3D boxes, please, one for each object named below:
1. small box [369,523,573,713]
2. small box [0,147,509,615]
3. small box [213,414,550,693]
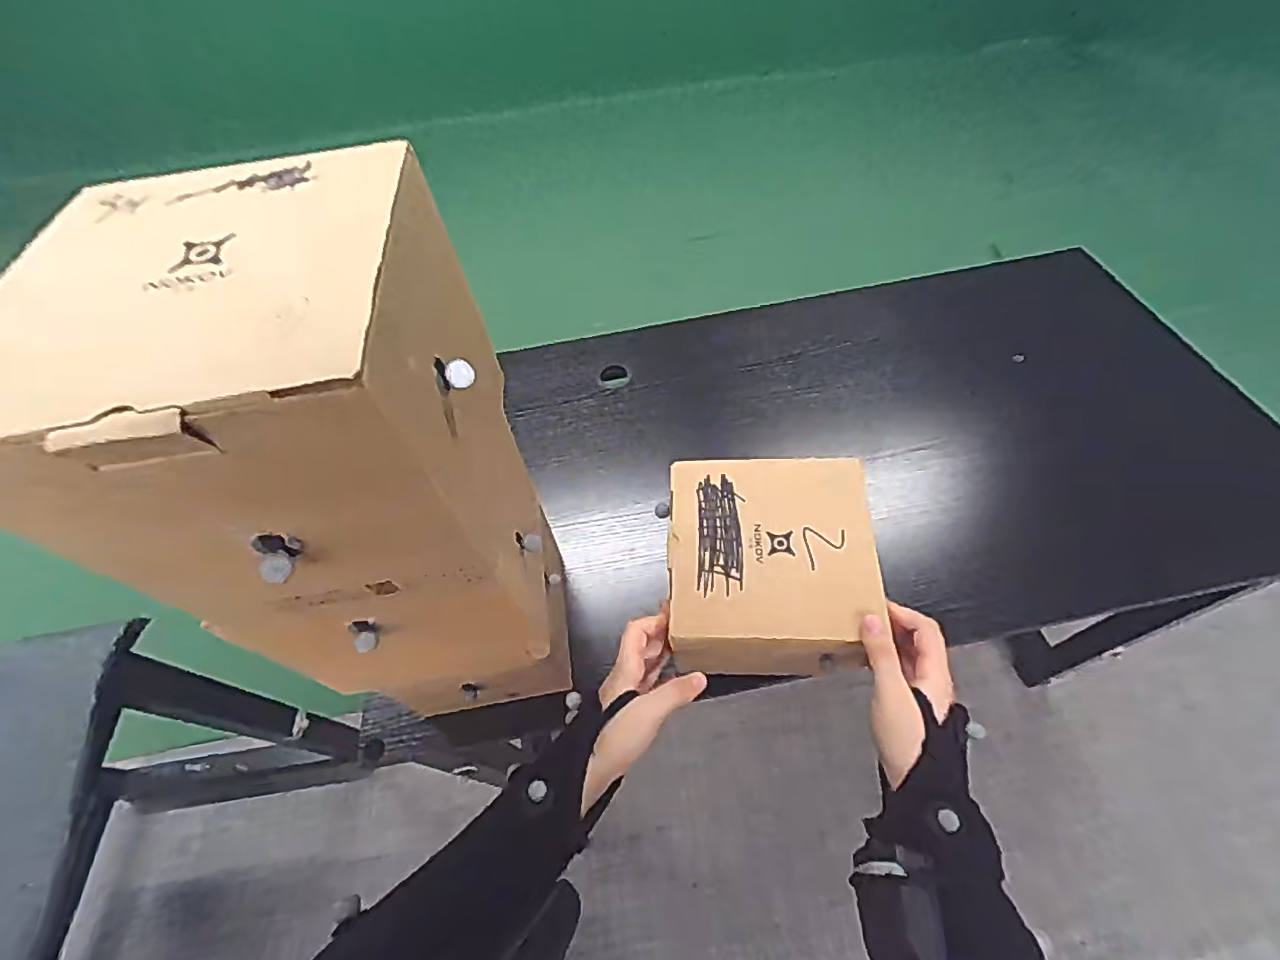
[{"bbox_3d":[-0.169,0.133,0.570,0.168,0.176,0.179,-10,55,-3],"label":"small box"},{"bbox_3d":[-0.173,-0.039,0.292,0.168,0.176,0.179,-9,57,-1],"label":"small box"},{"bbox_3d":[-0.171,0.054,0.427,0.179,0.176,0.168,-10,56,-2],"label":"small box"}]
